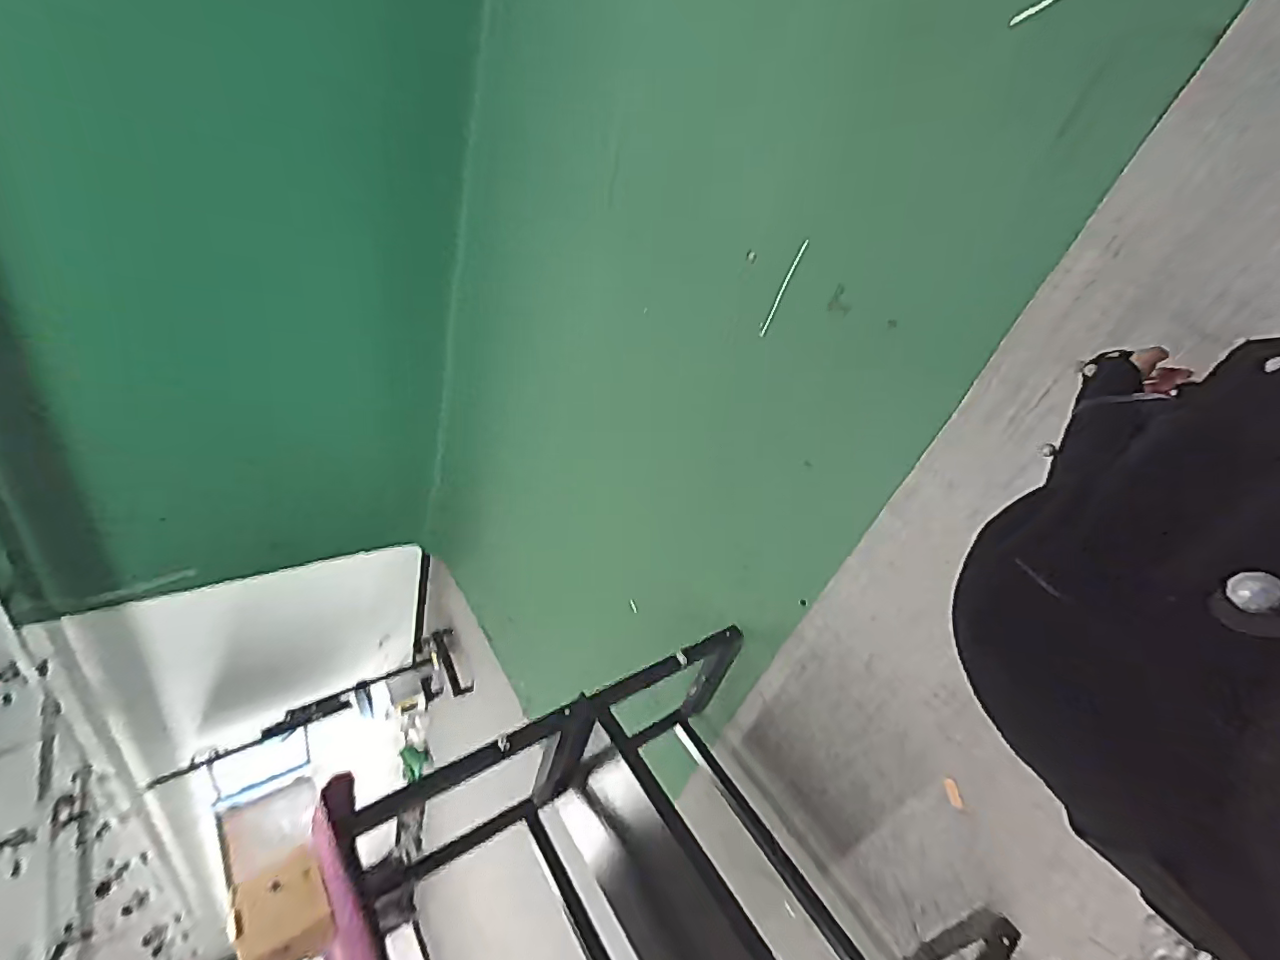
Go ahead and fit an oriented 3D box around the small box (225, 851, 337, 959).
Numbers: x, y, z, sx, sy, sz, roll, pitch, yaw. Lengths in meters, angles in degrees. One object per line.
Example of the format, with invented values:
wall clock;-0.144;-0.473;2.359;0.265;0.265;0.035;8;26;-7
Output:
small box;-0.786;0.973;1.194;0.168;0.176;0.179;43;132;35
